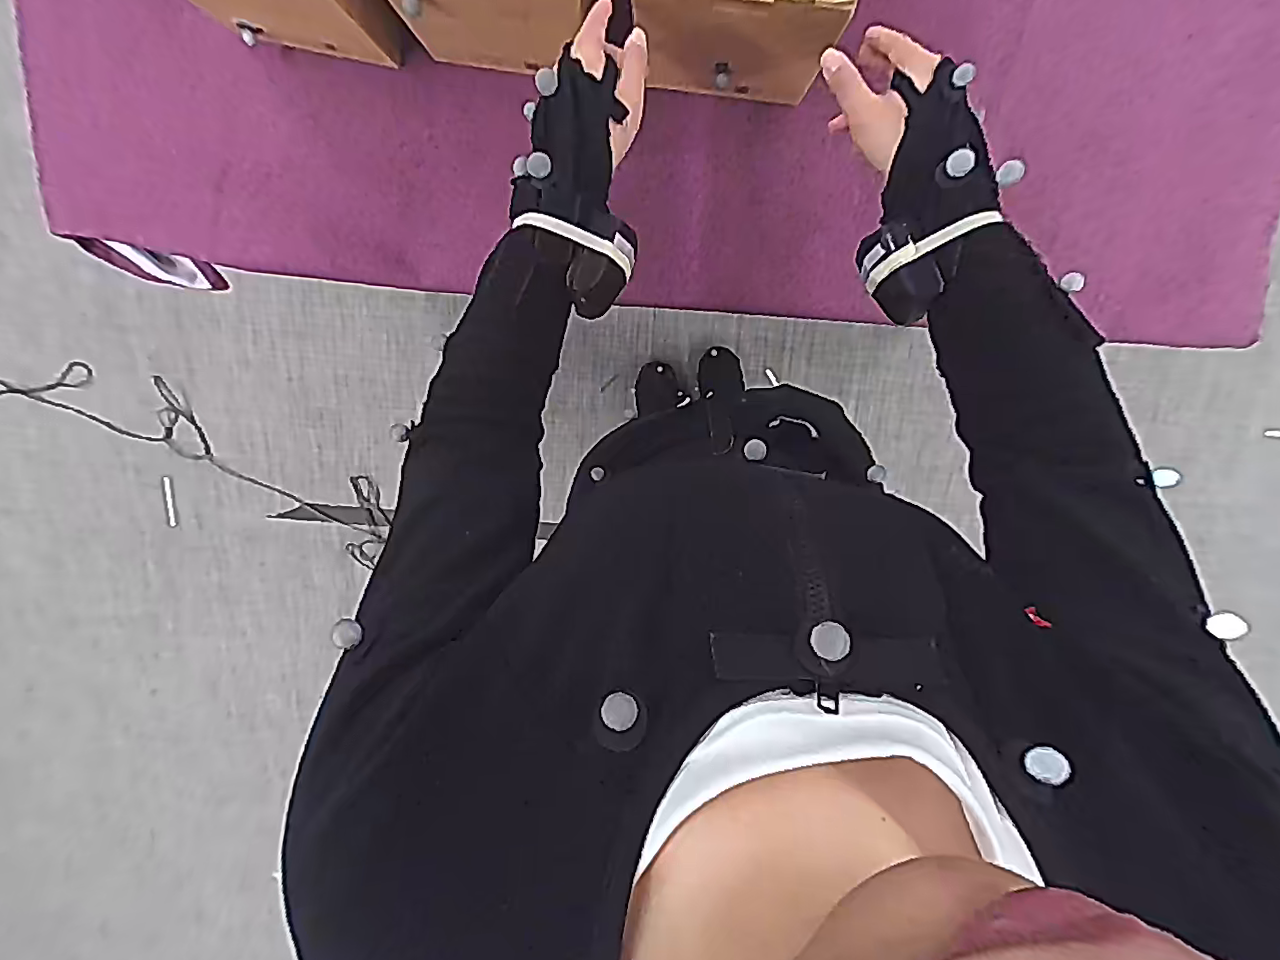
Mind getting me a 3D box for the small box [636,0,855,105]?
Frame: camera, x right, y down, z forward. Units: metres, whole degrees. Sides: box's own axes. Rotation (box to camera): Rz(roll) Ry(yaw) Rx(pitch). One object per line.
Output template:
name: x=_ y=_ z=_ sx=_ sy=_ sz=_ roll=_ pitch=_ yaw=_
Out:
small box: x=0.086 y=-0.451 z=0.445 sx=0.168 sy=0.176 sz=0.179 roll=7 pitch=104 yaw=0
